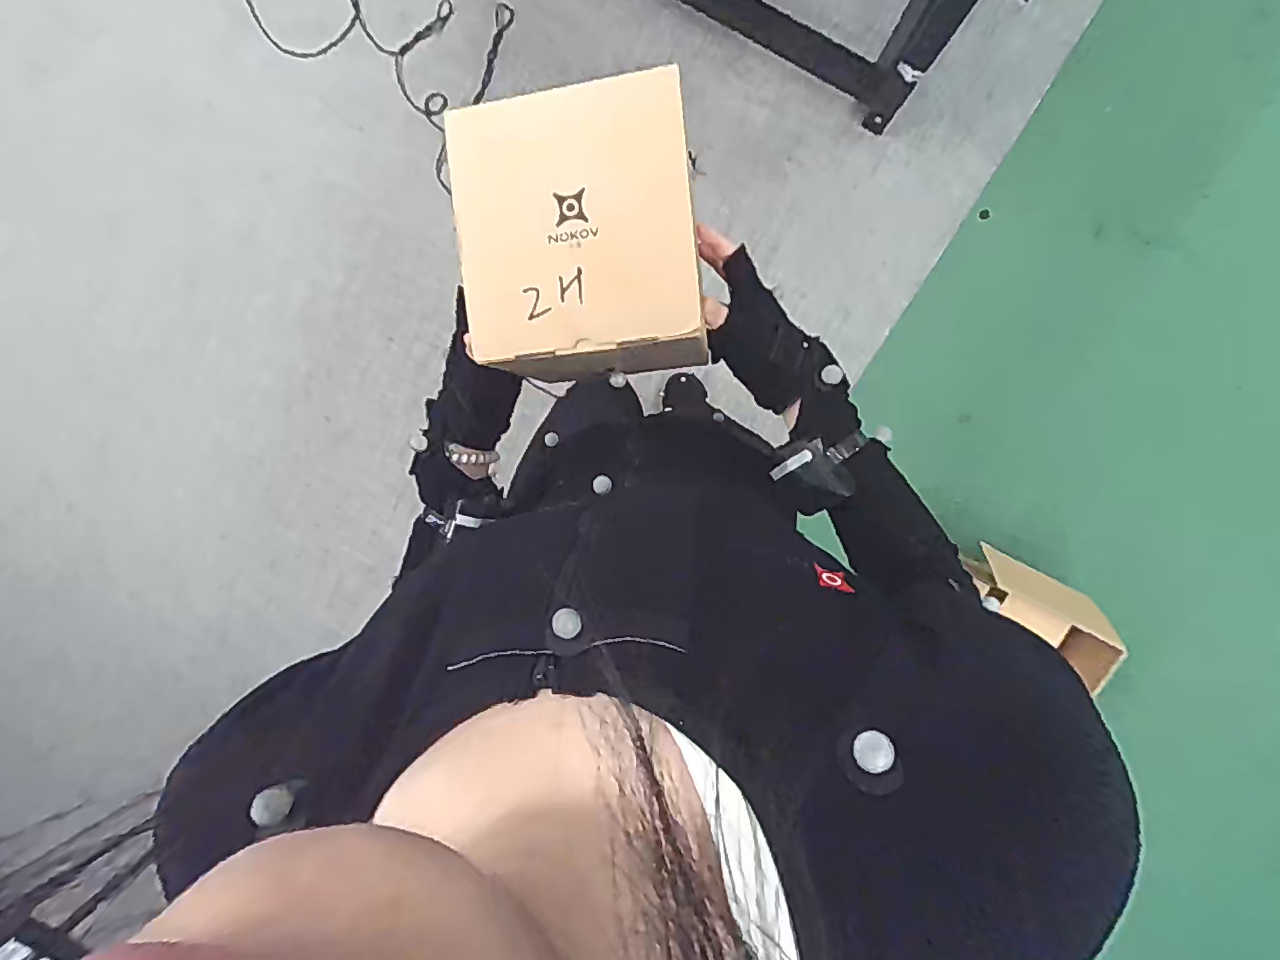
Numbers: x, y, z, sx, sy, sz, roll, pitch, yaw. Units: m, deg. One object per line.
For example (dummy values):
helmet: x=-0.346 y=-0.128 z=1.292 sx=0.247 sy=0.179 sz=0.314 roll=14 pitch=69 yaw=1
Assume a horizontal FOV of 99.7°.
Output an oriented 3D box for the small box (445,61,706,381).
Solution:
small box: x=-0.036 y=-0.185 z=0.444 sx=0.168 sy=0.176 sz=0.179 roll=-5 pitch=94 yaw=9
